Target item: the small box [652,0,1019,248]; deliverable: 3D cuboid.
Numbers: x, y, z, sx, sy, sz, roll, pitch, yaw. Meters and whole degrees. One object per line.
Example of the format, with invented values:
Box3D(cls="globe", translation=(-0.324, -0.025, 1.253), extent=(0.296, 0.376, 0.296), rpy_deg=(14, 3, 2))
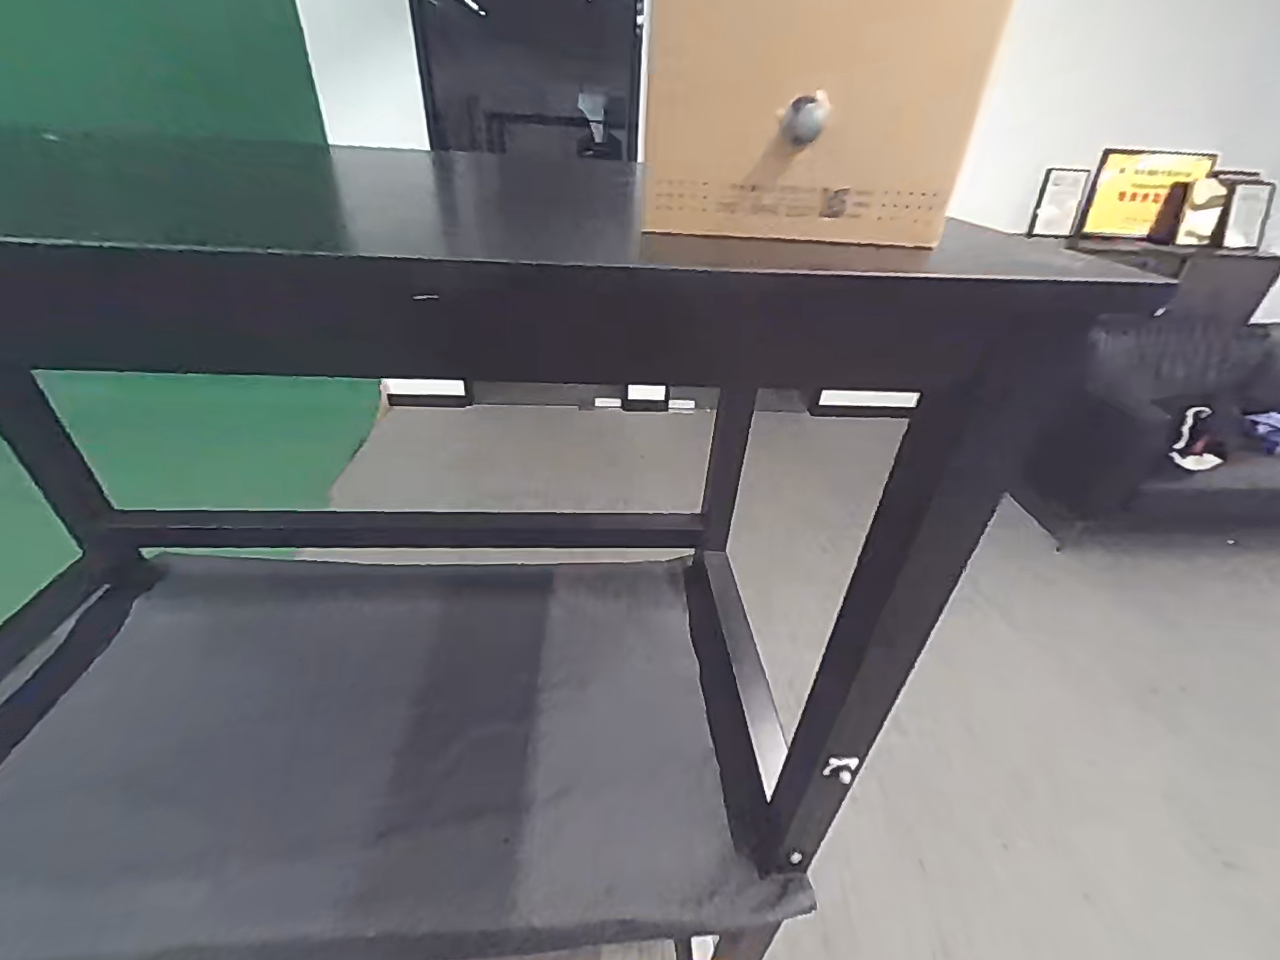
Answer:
Box3D(cls="small box", translation=(0.096, -0.251, 0.330), extent=(0.168, 0.176, 0.179), rpy_deg=(4, 34, 2))
